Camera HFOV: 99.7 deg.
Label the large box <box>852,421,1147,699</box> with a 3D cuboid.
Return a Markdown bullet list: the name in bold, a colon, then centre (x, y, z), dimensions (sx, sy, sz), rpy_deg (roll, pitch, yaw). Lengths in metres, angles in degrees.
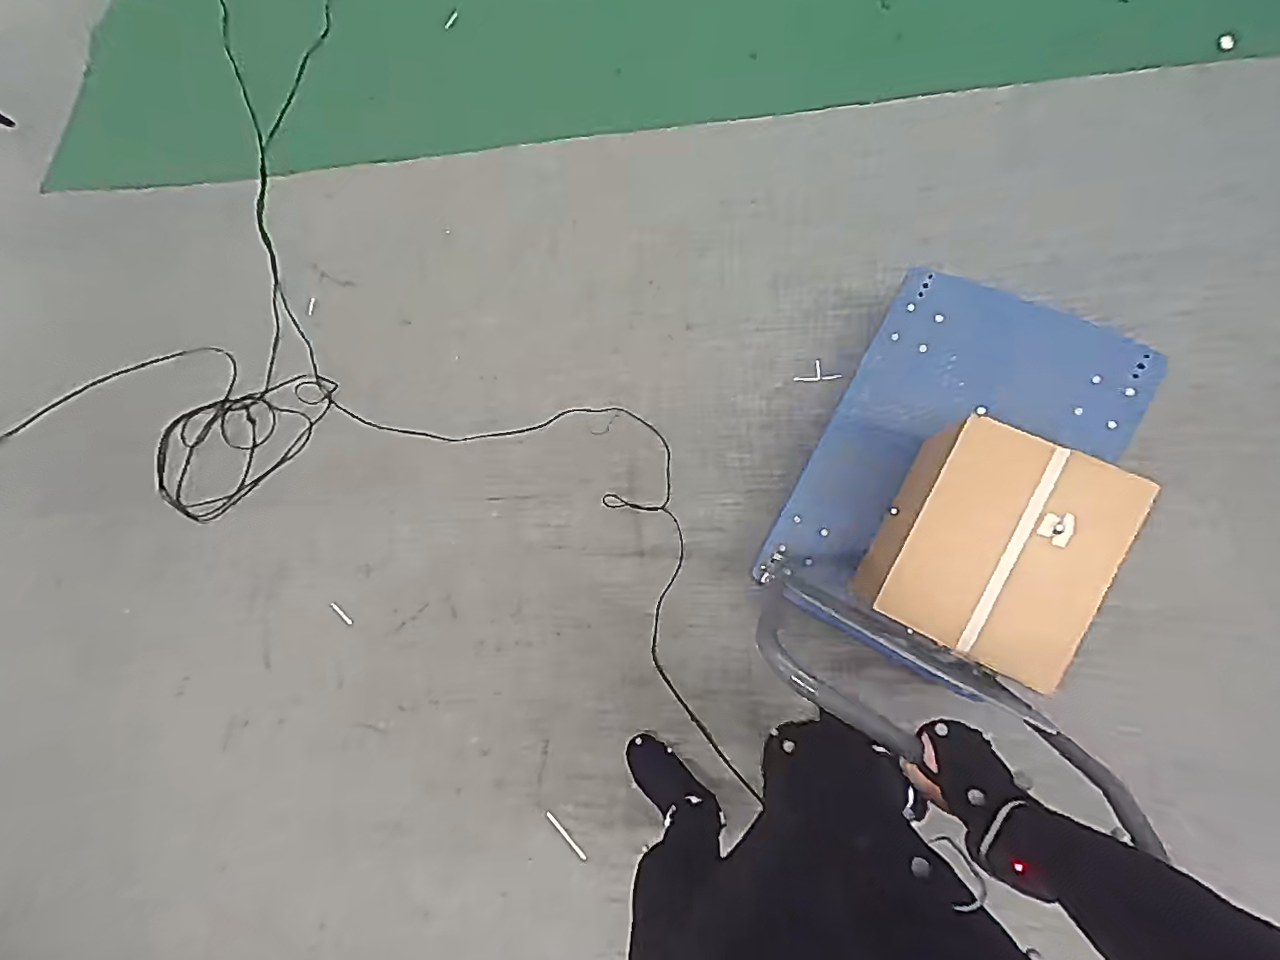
- **large box**: centre (0.679, 0.152, 1.097), dimensions (0.320, 0.320, 0.408), rpy_deg (27, 90, 14)
